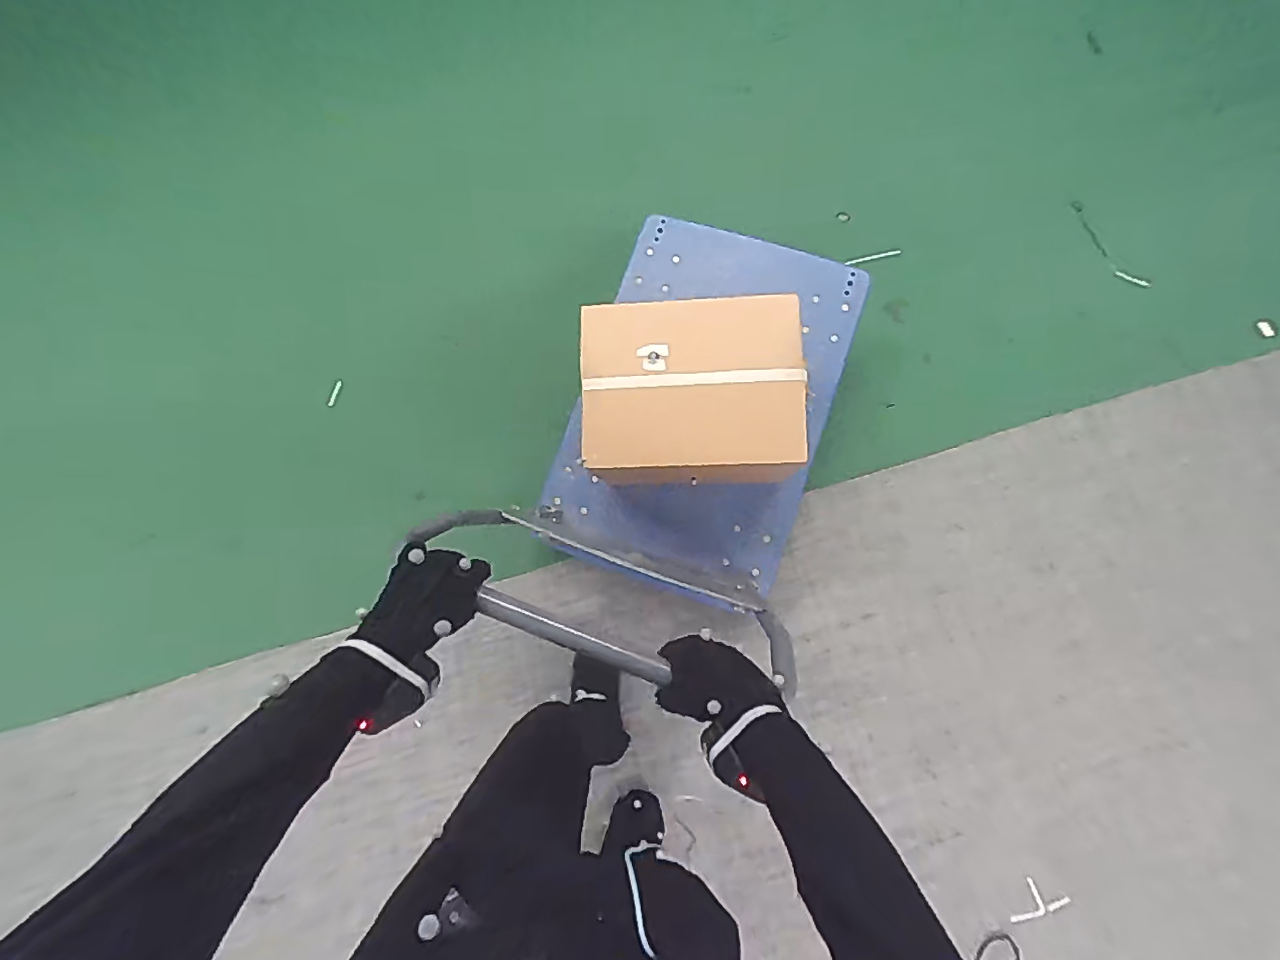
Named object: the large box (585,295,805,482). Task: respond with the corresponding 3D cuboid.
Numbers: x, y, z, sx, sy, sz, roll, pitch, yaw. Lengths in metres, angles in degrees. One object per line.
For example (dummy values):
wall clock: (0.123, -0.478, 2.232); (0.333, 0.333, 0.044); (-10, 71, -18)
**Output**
large box: (0.114, -0.167, 1.145); (0.408, 0.320, 0.320); (-1, 83, 7)
